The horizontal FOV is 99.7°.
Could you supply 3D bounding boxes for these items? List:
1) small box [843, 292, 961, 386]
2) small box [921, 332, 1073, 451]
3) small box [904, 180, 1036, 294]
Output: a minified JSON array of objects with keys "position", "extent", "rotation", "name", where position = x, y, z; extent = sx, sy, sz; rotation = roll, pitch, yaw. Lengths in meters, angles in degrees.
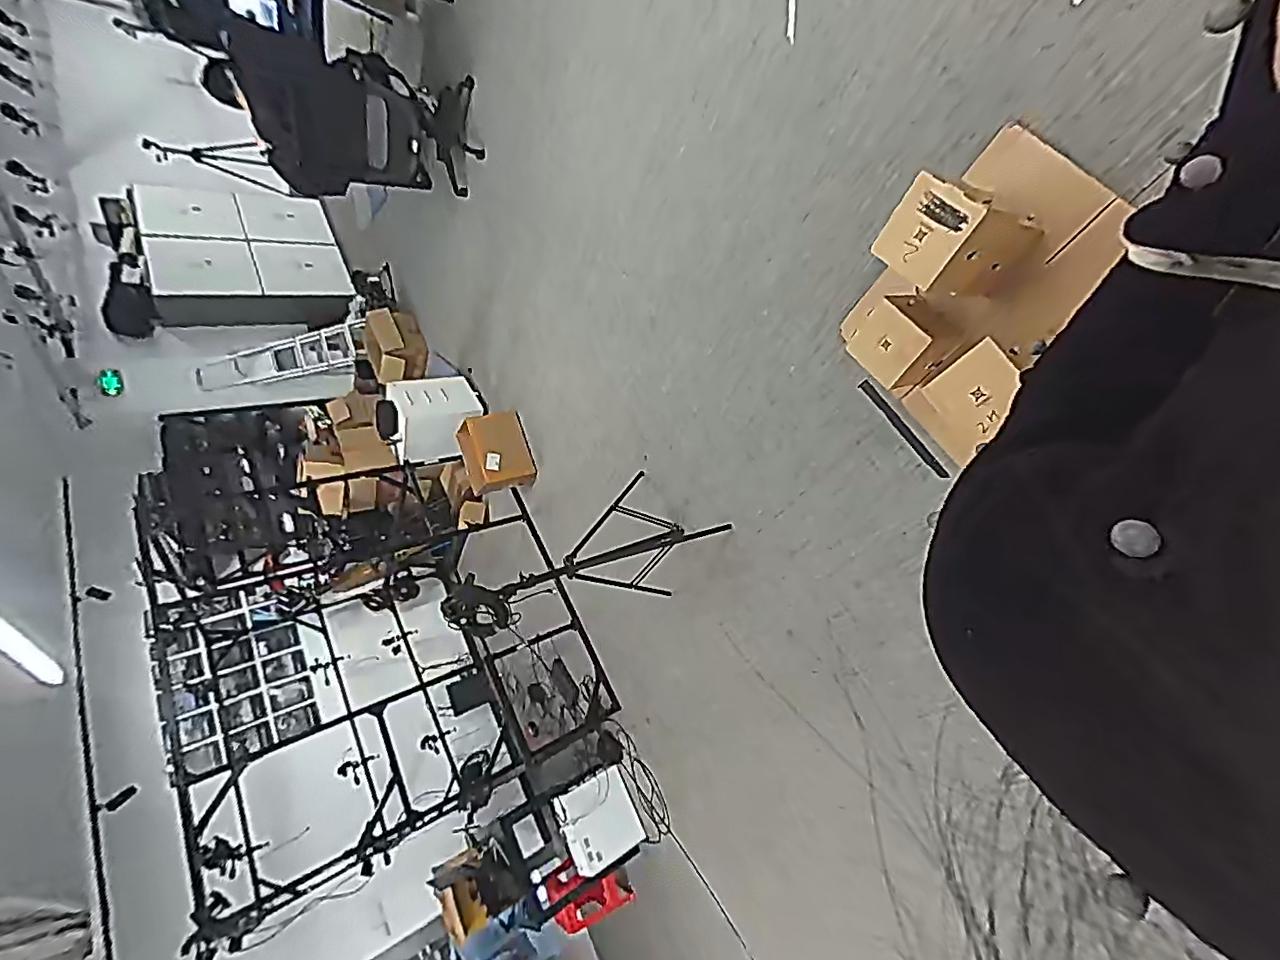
[{"position":[0.678,-0.368,1.403],"extent":[0.179,0.176,0.168],"rotation":[55,142,26],"name":"small box"},{"position":[0.731,-0.185,1.110],"extent":[0.179,0.176,0.168],"rotation":[61,142,18],"name":"small box"},{"position":[0.757,-0.548,1.233],"extent":[0.168,0.176,0.179],"rotation":[56,140,25],"name":"small box"}]
